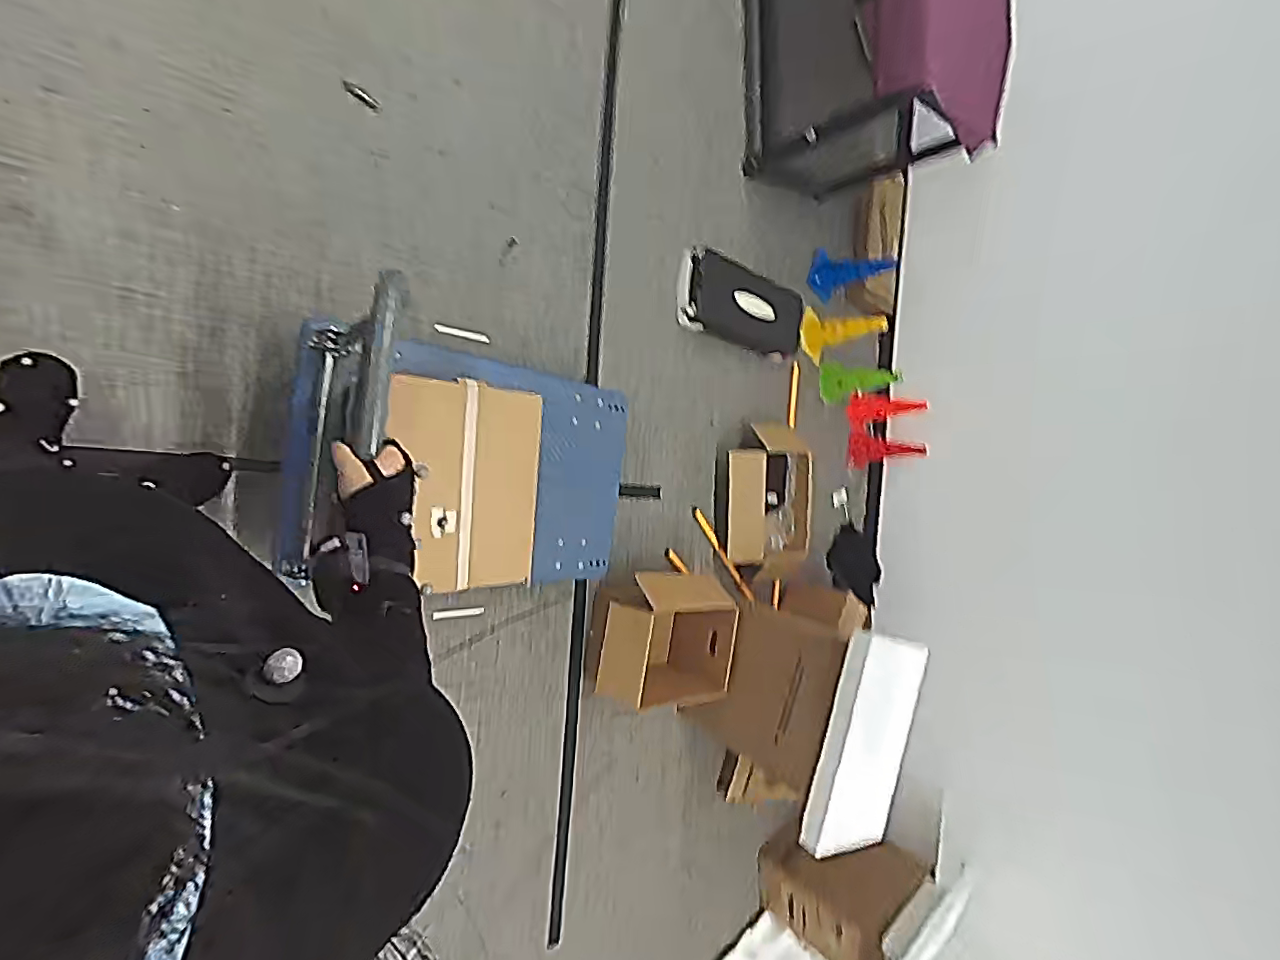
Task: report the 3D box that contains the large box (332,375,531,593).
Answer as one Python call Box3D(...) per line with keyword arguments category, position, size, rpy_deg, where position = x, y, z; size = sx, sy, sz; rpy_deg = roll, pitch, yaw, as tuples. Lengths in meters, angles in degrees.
Box3D(category="large box", position=(-0.459, -0.002, 1.176), size=(0.320, 0.320, 0.408), rpy_deg=(3, 94, -40))
